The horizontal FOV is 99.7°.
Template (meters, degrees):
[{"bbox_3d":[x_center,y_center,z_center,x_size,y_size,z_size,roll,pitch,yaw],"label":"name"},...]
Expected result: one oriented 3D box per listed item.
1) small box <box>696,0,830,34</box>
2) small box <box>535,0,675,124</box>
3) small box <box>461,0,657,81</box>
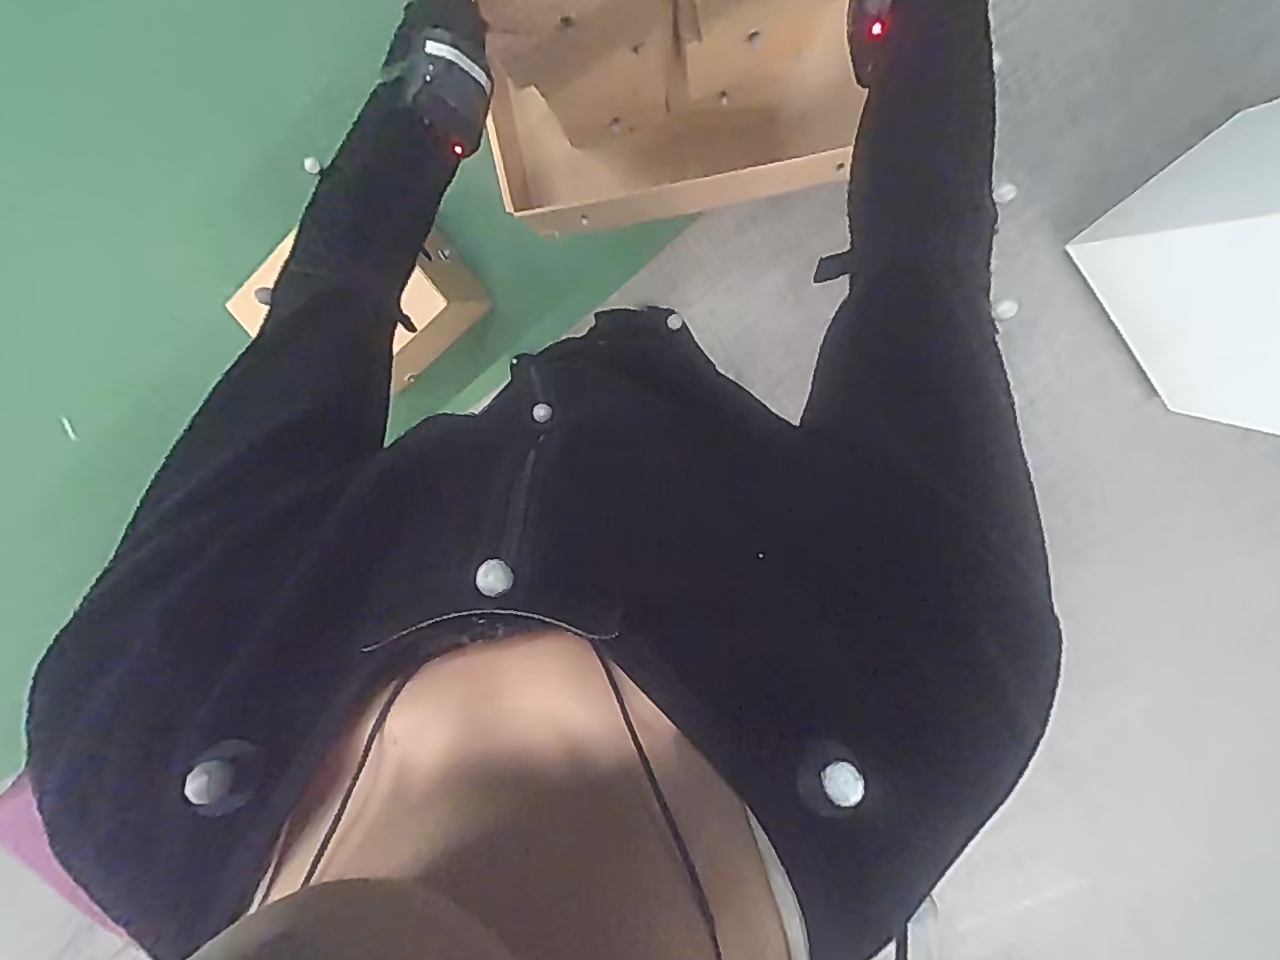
[{"bbox_3d":[0.122,-0.541,0.474,0.179,0.176,0.168,-8,108,13],"label":"small box"},{"bbox_3d":[-0.069,-0.577,0.652,0.179,0.176,0.168,-24,103,11],"label":"small box"},{"bbox_3d":[-0.084,-0.517,0.498,0.179,0.176,0.168,-15,104,8],"label":"small box"}]
